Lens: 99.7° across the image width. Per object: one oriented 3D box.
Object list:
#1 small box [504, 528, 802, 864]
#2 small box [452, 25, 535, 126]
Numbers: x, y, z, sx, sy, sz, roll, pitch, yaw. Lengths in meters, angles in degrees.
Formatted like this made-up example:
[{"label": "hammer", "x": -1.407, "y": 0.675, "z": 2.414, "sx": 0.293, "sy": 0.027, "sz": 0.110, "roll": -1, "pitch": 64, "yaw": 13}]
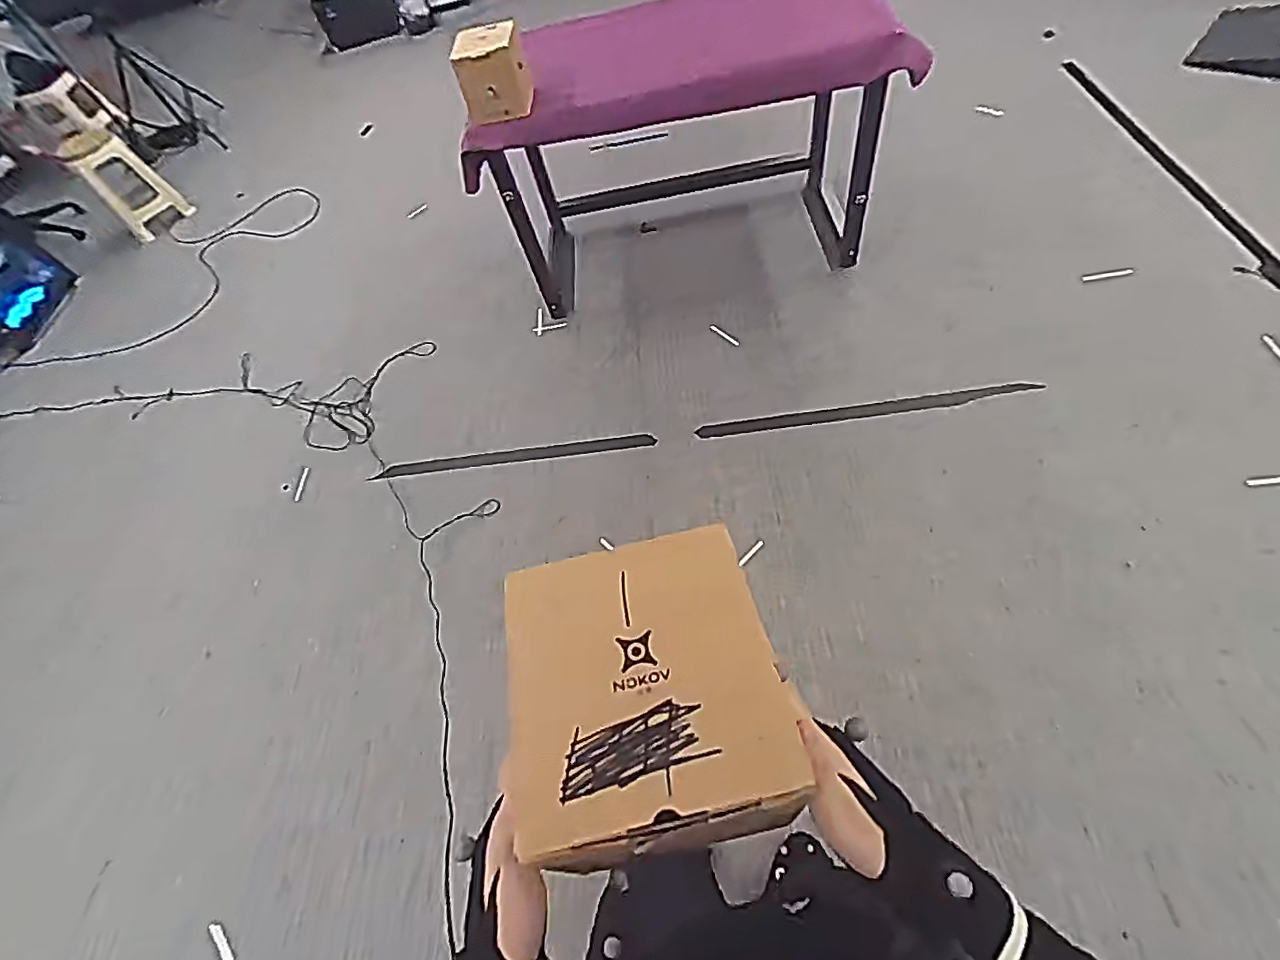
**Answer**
[{"label": "small box", "x": 0.006, "y": 0.167, "z": 0.402, "sx": 0.168, "sy": 0.176, "sz": 0.179, "roll": -13, "pitch": 50, "yaw": -1}, {"label": "small box", "x": -0.405, "y": -1.129, "z": 1.525, "sx": 0.168, "sy": 0.176, "sz": 0.179, "roll": -6, "pitch": 59, "yaw": 8}]
